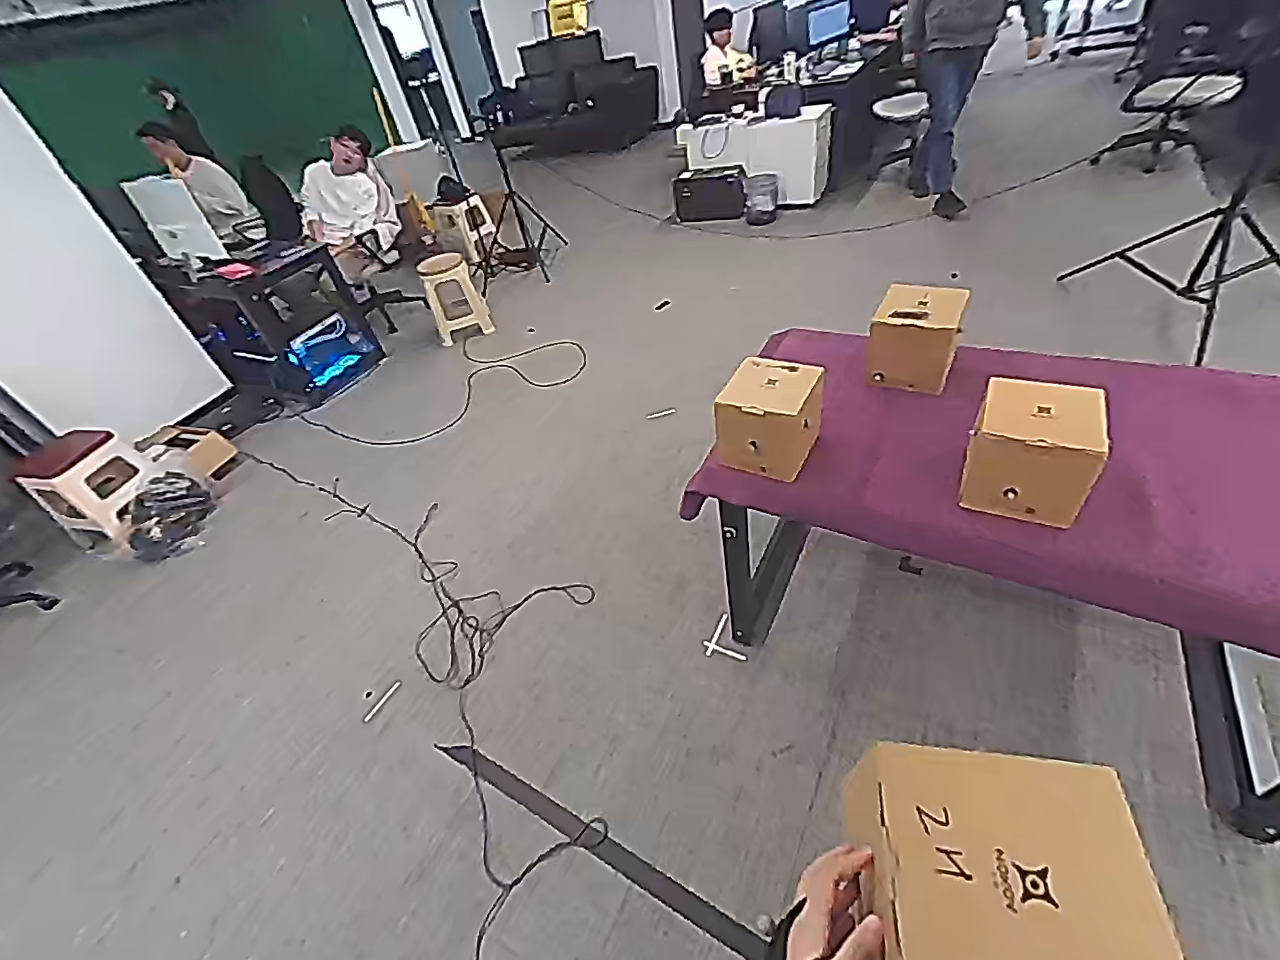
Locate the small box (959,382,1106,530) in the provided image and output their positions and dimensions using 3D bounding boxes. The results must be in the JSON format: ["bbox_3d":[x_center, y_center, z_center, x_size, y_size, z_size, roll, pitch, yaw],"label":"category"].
[{"bbox_3d":[0.670,-0.044,0.937,0.168,0.176,0.179,14,48,27],"label":"small box"}]

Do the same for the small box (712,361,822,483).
[{"bbox_3d":[0.266,-0.120,1.117,0.168,0.176,0.179,16,50,28],"label":"small box"}]

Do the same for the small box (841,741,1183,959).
[{"bbox_3d":[0.276,0.331,0.441,0.179,0.176,0.168,2,51,10],"label":"small box"}]

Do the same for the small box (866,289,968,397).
[{"bbox_3d":[0.625,-0.313,1.235,0.168,0.176,0.179,17,51,29],"label":"small box"}]
